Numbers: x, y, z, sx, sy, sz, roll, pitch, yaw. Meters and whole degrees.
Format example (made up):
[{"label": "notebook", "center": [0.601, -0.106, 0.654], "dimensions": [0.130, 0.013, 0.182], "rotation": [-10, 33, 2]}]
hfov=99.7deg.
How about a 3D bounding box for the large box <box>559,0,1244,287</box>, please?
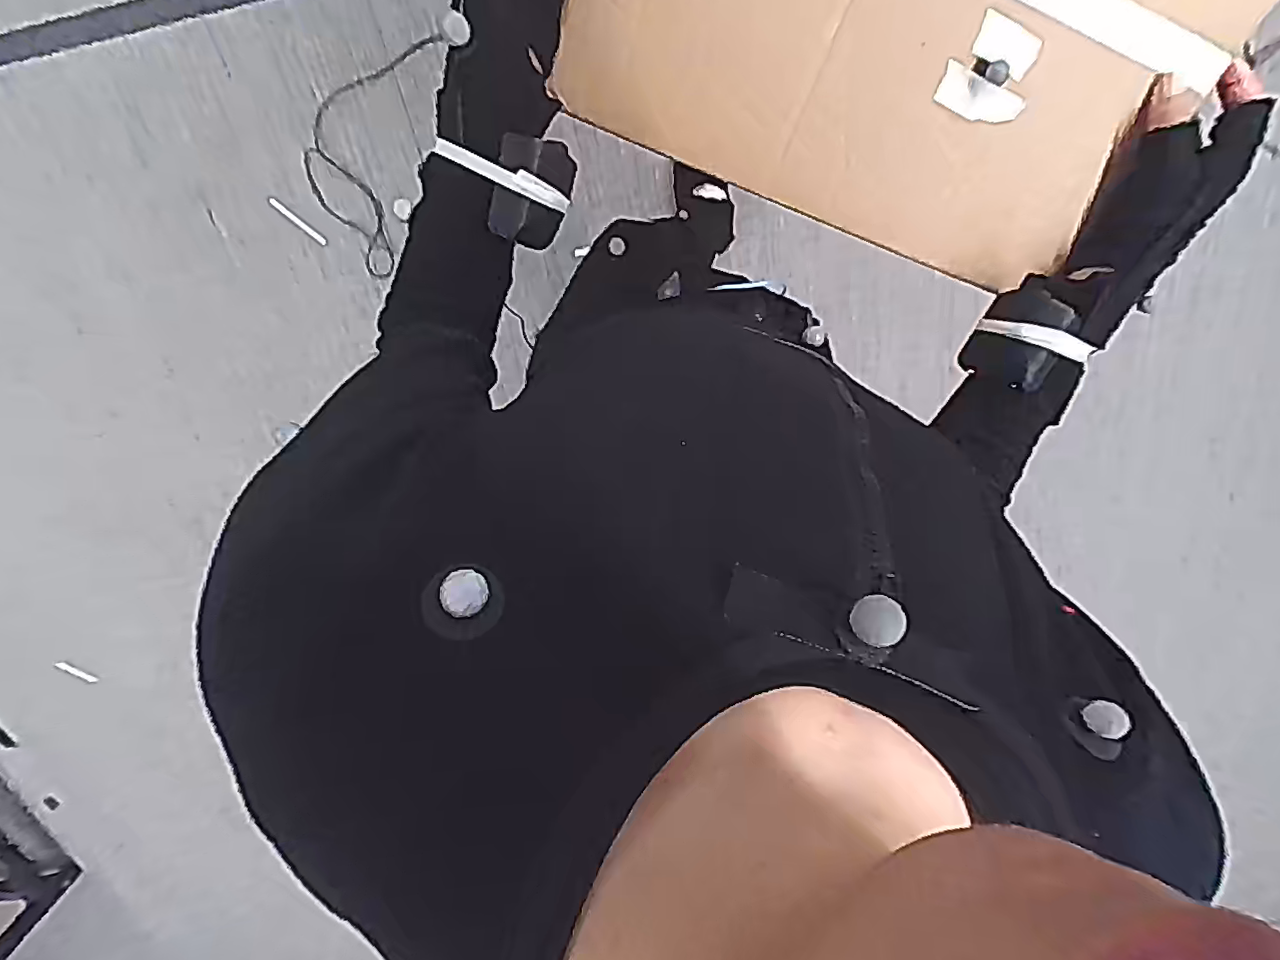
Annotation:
[{"label": "large box", "center": [0.179, -0.415, 0.448], "dimensions": [0.408, 0.320, 0.320], "rotation": [17, 126, -10]}]
